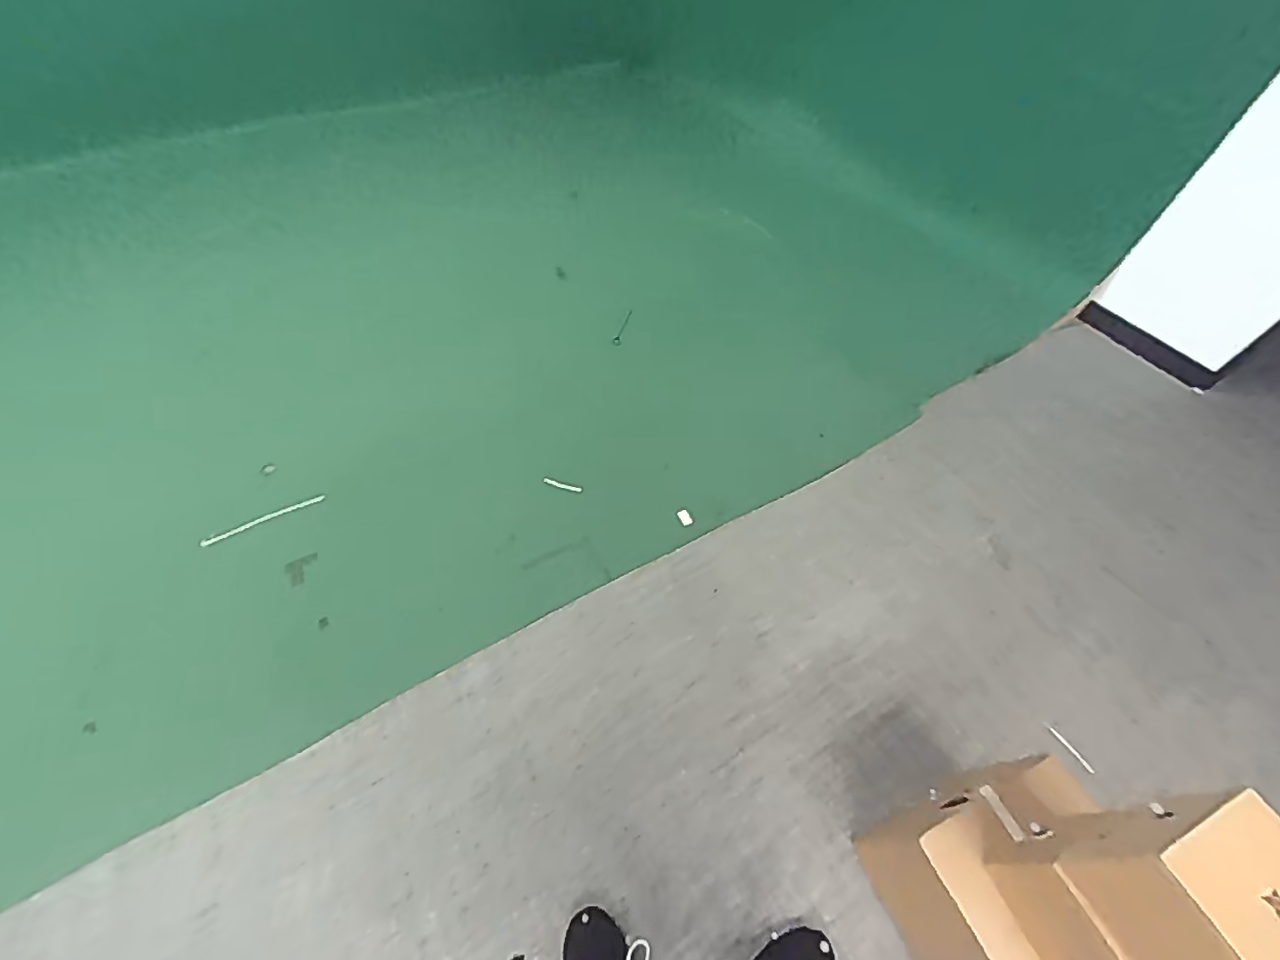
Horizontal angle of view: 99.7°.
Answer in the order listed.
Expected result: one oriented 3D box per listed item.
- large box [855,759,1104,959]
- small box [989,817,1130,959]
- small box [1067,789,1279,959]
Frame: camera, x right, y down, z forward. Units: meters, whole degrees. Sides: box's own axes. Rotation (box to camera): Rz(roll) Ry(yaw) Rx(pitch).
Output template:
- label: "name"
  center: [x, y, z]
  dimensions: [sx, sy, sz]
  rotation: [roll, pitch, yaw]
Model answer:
- label: "large box"
  center: [0.658, 0.764, 0.925]
  dimensions: [0.320, 0.320, 0.408]
  rotation: [-20, 59, -14]
- label: "small box"
  center: [0.643, 0.595, 0.747]
  dimensions: [0.168, 0.176, 0.179]
  rotation: [-18, 56, -16]
- label: "small box"
  center: [0.659, 0.492, 0.622]
  dimensions: [0.168, 0.176, 0.179]
  rotation: [-19, 58, -16]
